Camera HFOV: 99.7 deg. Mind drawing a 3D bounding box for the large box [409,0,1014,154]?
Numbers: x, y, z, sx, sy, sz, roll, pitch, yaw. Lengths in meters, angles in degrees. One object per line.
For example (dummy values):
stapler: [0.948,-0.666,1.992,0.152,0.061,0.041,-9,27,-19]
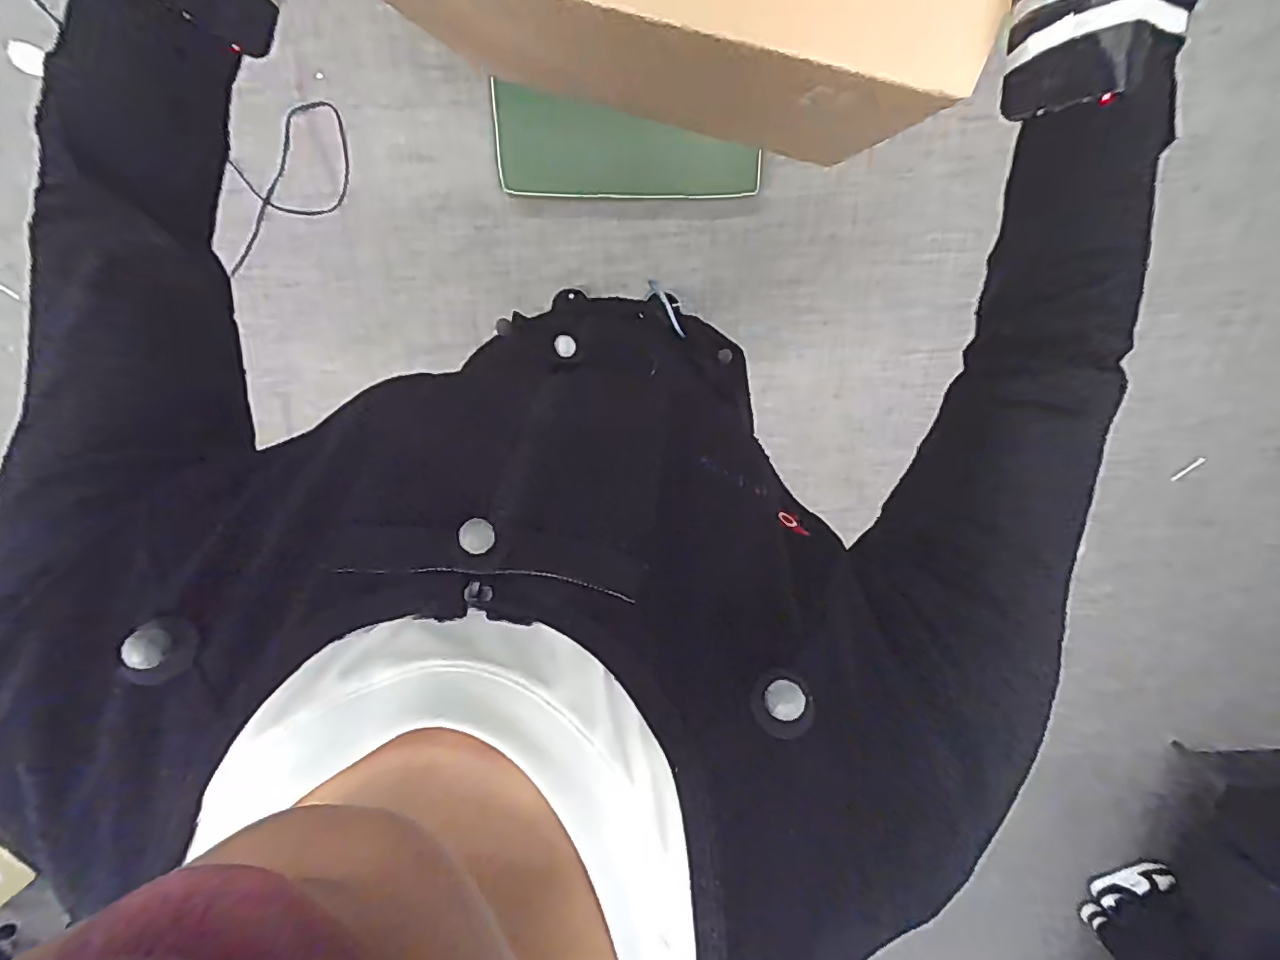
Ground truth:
large box: [0.045,-0.469,0.385,0.408,0.320,0.320,13,115,-3]
